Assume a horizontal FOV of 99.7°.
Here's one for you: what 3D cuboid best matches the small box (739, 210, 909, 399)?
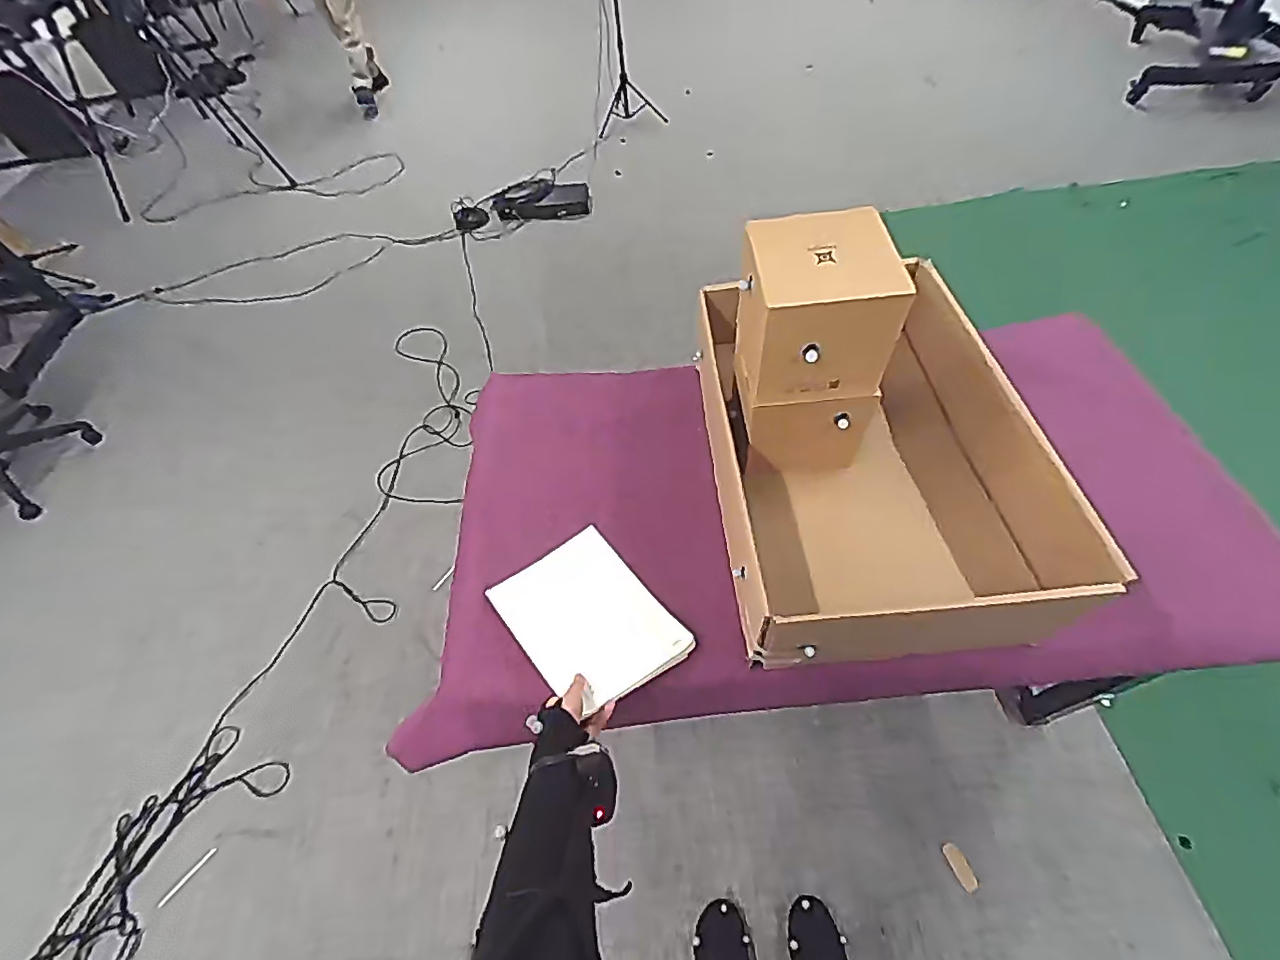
[{"bbox_3d":[0.226,-0.221,0.714,0.168,0.176,0.179,-5,55,4],"label":"small box"}]
